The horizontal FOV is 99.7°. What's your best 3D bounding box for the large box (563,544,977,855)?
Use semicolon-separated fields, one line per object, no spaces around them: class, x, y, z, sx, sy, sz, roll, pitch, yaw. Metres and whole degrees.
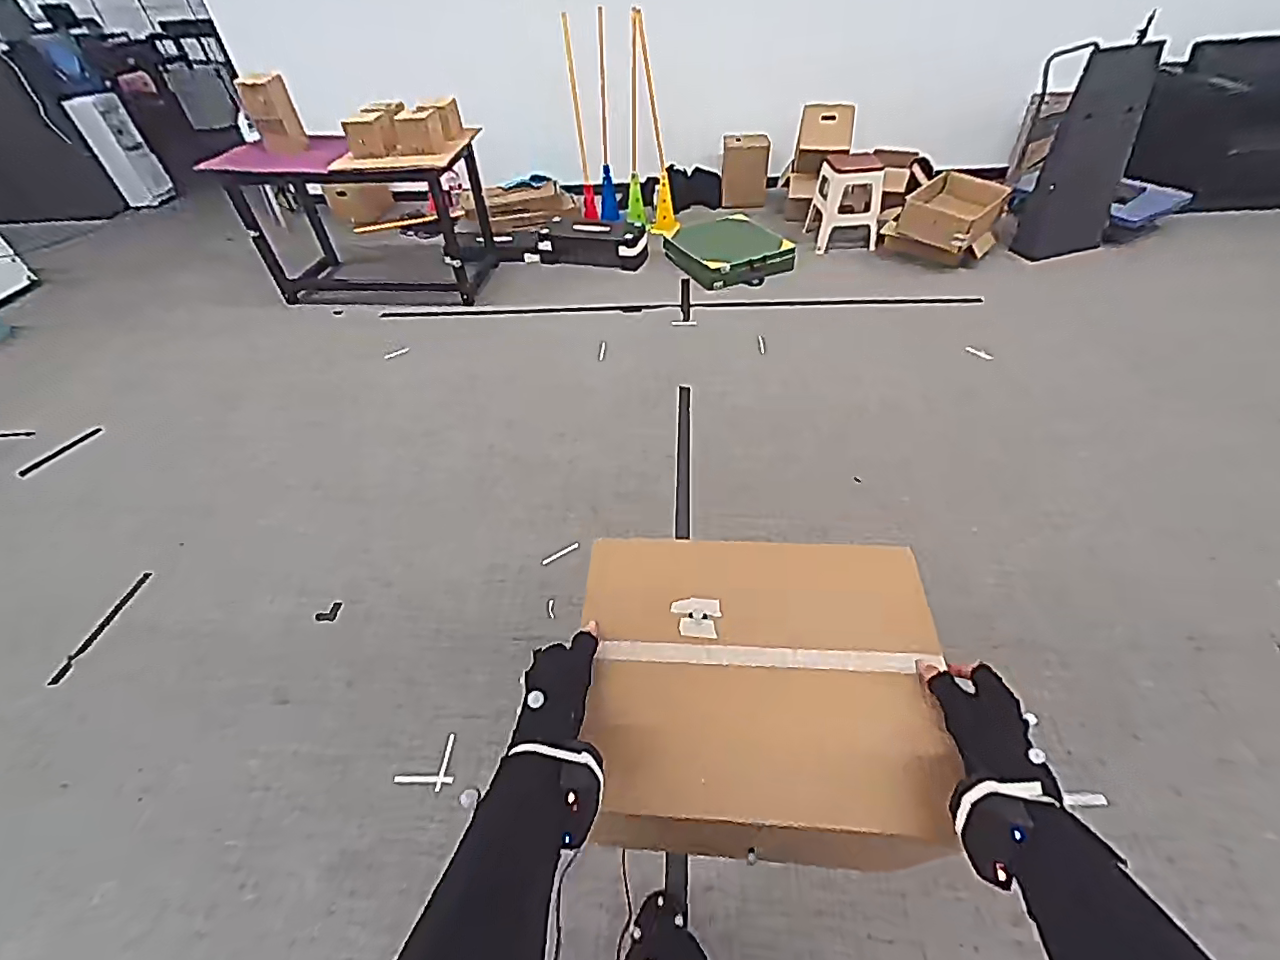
large box;0.141;0.299;0.728;0.408;0.320;0.320;1;49;6
